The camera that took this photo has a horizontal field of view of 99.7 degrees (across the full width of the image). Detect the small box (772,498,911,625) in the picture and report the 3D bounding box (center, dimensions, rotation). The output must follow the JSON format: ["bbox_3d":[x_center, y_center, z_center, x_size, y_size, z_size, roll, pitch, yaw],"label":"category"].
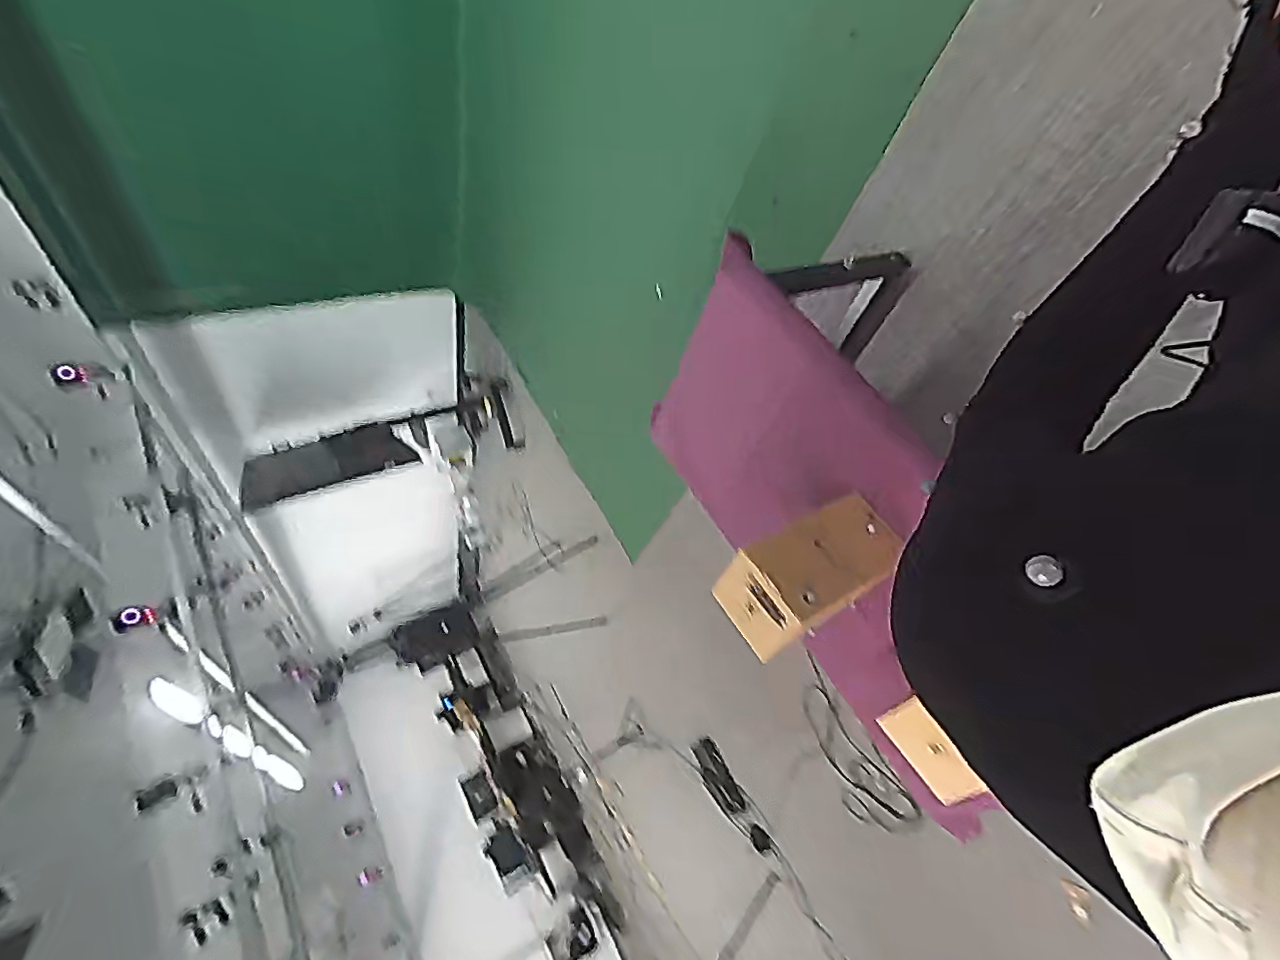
[{"bbox_3d":[0.412,0.165,1.113,0.168,0.176,0.179,54,146,25],"label":"small box"}]

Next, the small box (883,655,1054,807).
[{"bbox_3d":[0.594,0.452,0.984,0.168,0.176,0.179,53,145,28],"label":"small box"}]
